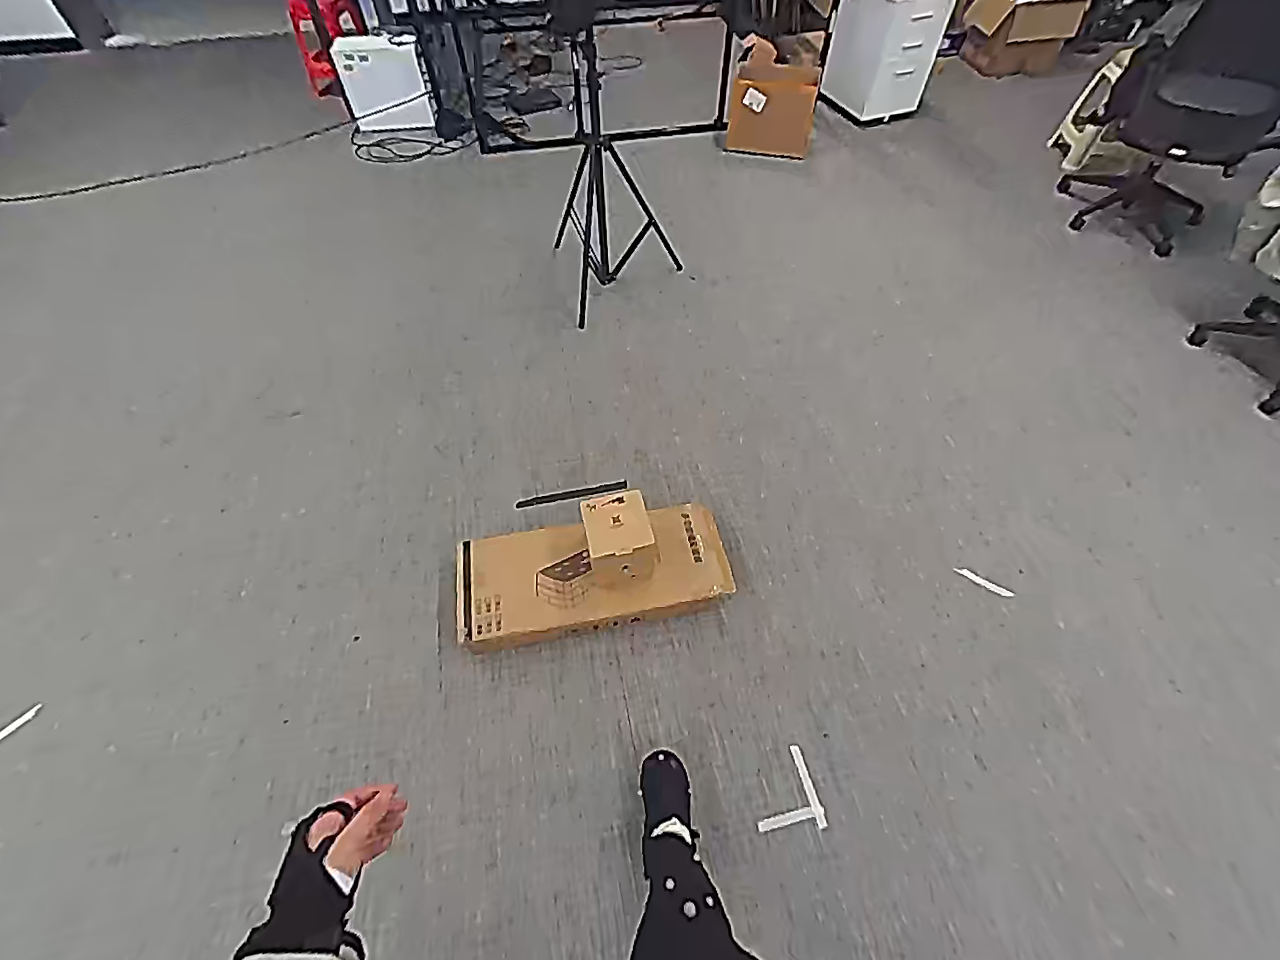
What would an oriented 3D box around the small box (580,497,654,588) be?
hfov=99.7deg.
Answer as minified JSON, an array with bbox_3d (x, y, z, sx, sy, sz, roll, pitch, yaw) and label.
[{"bbox_3d":[-0.060,0.174,1.444,0.168,0.176,0.179,-11,55,-8],"label":"small box"}]
